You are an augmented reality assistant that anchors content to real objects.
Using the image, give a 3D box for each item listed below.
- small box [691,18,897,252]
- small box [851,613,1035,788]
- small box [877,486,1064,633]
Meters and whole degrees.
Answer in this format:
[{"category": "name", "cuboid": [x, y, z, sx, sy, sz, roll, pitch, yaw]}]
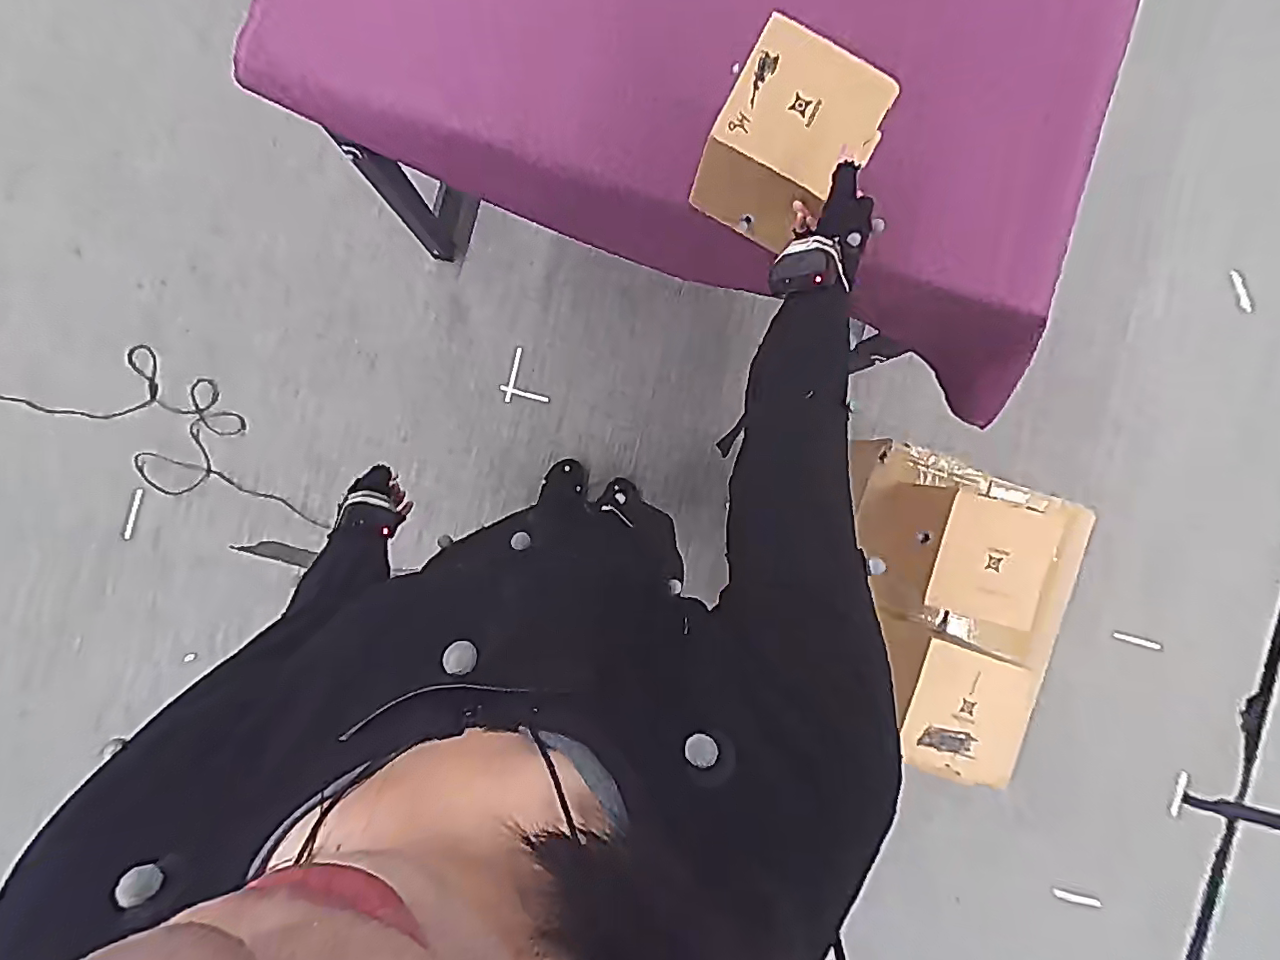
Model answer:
[{"category": "small box", "cuboid": [0.188, -0.431, 0.714, 0.179, 0.176, 0.168, 28, 89, -4]}, {"category": "small box", "cuboid": [0.457, 0.331, 0.846, 0.168, 0.176, 0.179, 19, 88, -3]}, {"category": "small box", "cuboid": [0.500, 0.112, 0.846, 0.168, 0.176, 0.179, 16, 92, -2]}]
